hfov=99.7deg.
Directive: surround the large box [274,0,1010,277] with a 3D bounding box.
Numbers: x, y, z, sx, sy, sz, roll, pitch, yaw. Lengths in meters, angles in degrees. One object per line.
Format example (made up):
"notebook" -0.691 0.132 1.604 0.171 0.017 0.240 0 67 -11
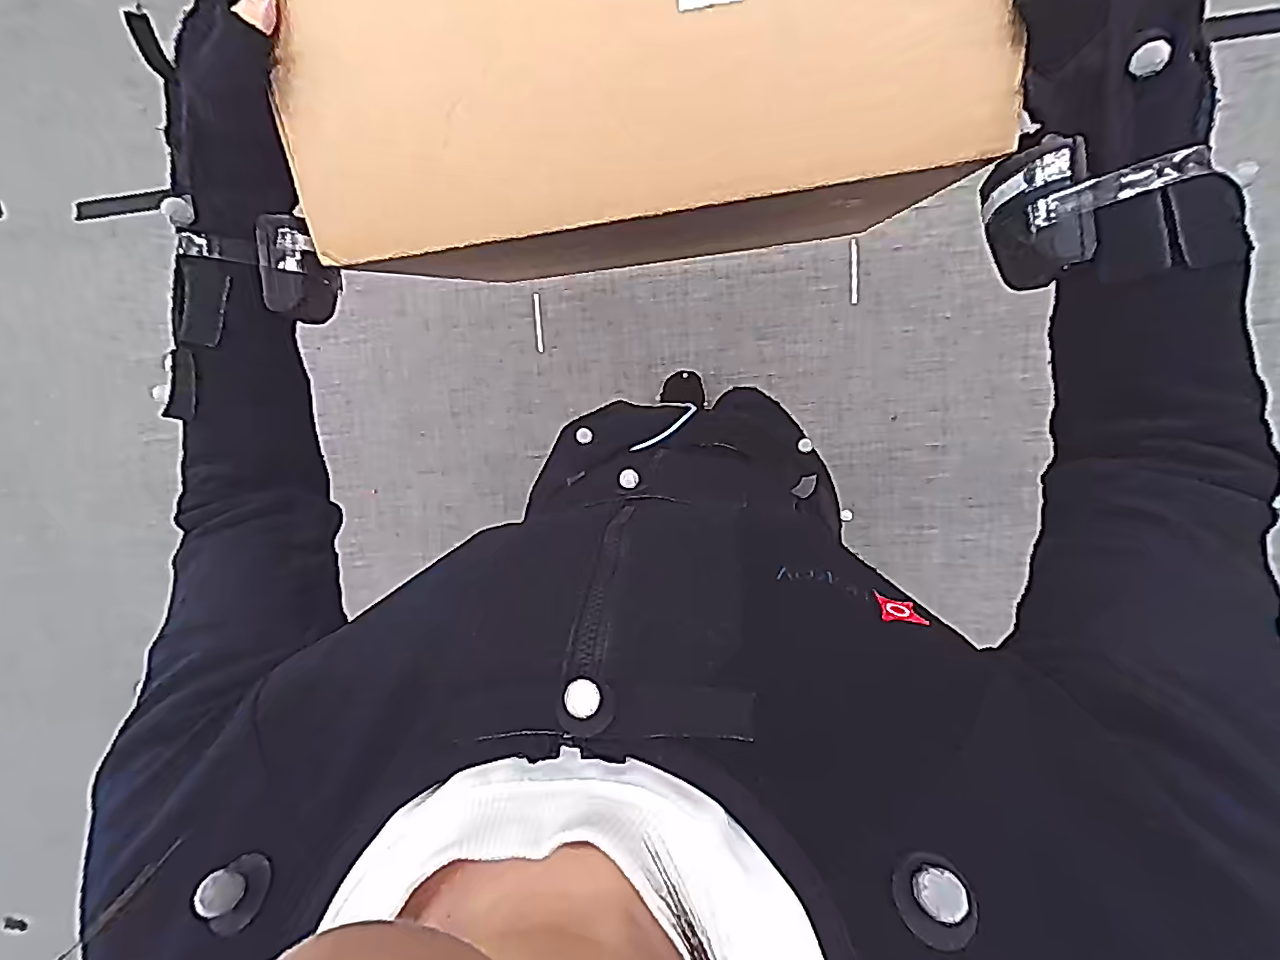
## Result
"large box" -0.002 -0.357 0.419 0.408 0.320 0.320 -5 108 10
